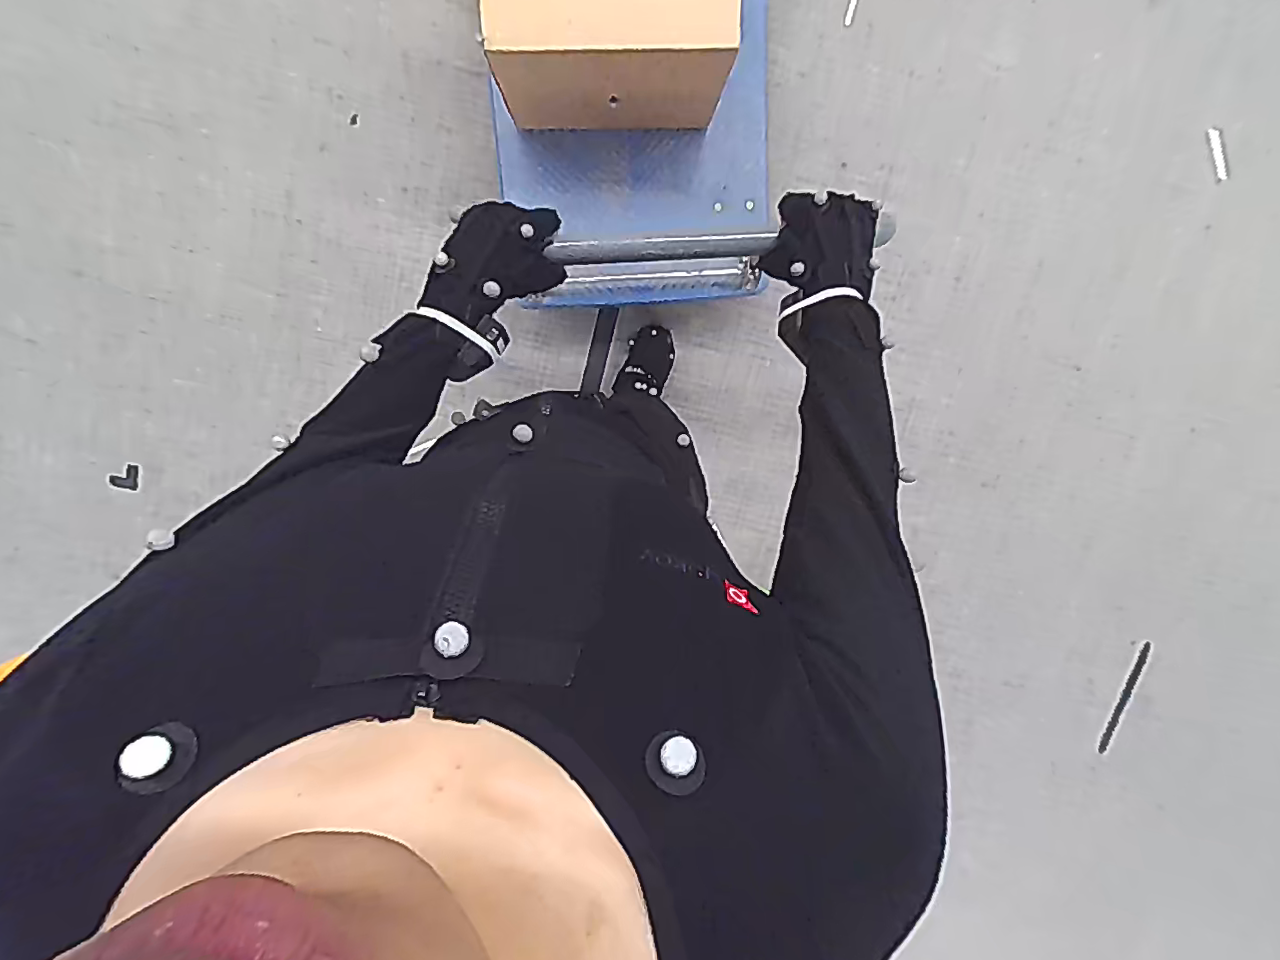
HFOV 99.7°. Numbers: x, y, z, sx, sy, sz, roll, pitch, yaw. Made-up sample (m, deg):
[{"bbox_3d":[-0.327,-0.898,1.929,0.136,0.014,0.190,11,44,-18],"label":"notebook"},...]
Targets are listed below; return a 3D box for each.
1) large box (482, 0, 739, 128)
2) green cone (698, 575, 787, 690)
[{"bbox_3d":[-0.052,-0.856,0.960,0.408,0.320,0.320,-2,103,-2],"label":"large box"},{"bbox_3d":[0.297,0.423,1.399,0.202,0.368,0.200,17,101,-7],"label":"green cone"}]
